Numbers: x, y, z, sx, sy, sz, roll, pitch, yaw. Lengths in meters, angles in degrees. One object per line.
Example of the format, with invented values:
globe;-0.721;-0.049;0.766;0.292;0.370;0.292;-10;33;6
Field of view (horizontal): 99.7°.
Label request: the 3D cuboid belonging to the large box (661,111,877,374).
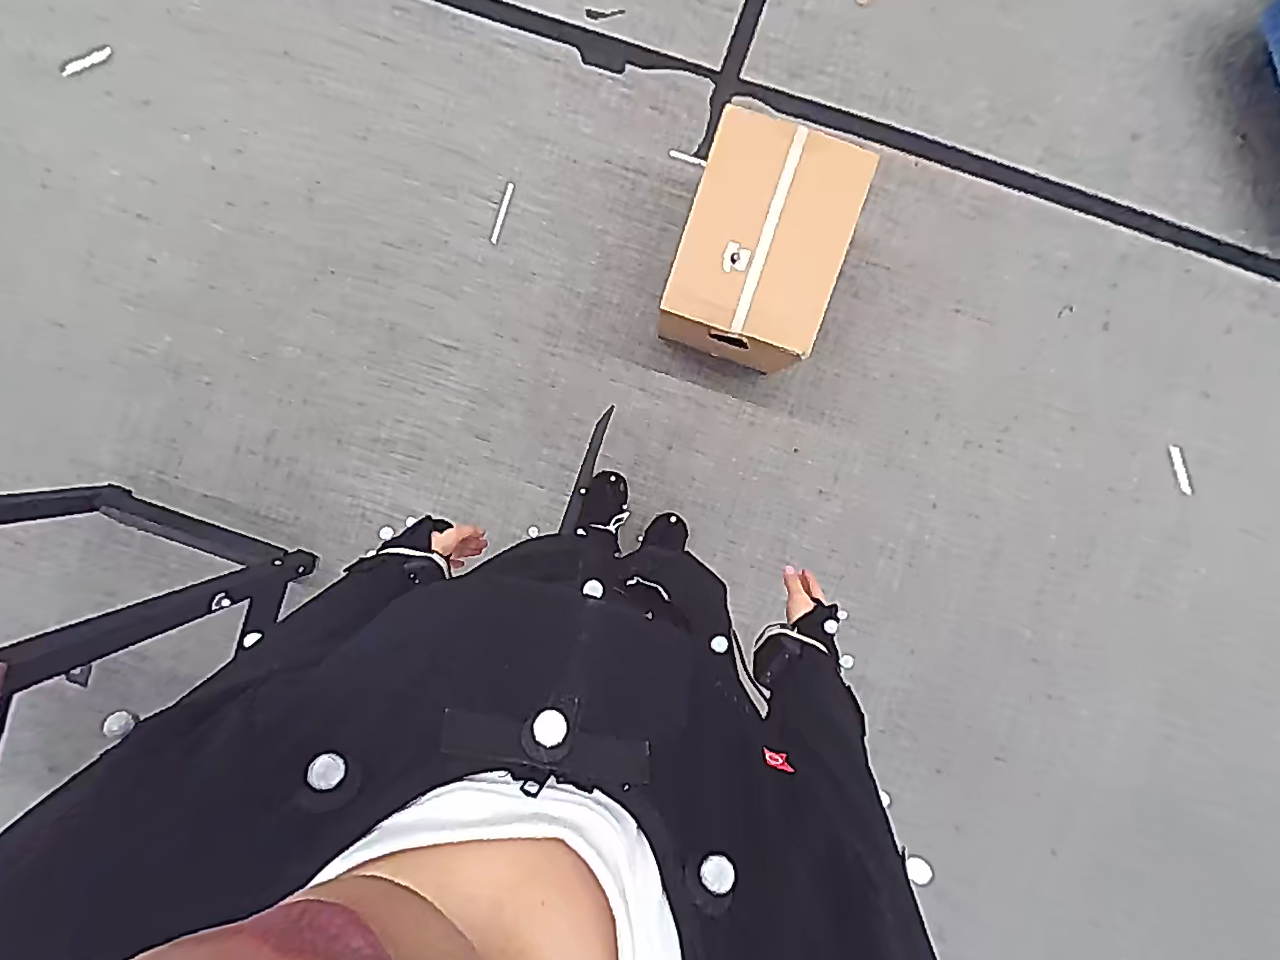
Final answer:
large box;0.253;-0.482;1.188;0.320;0.320;0.408;18;96;0
